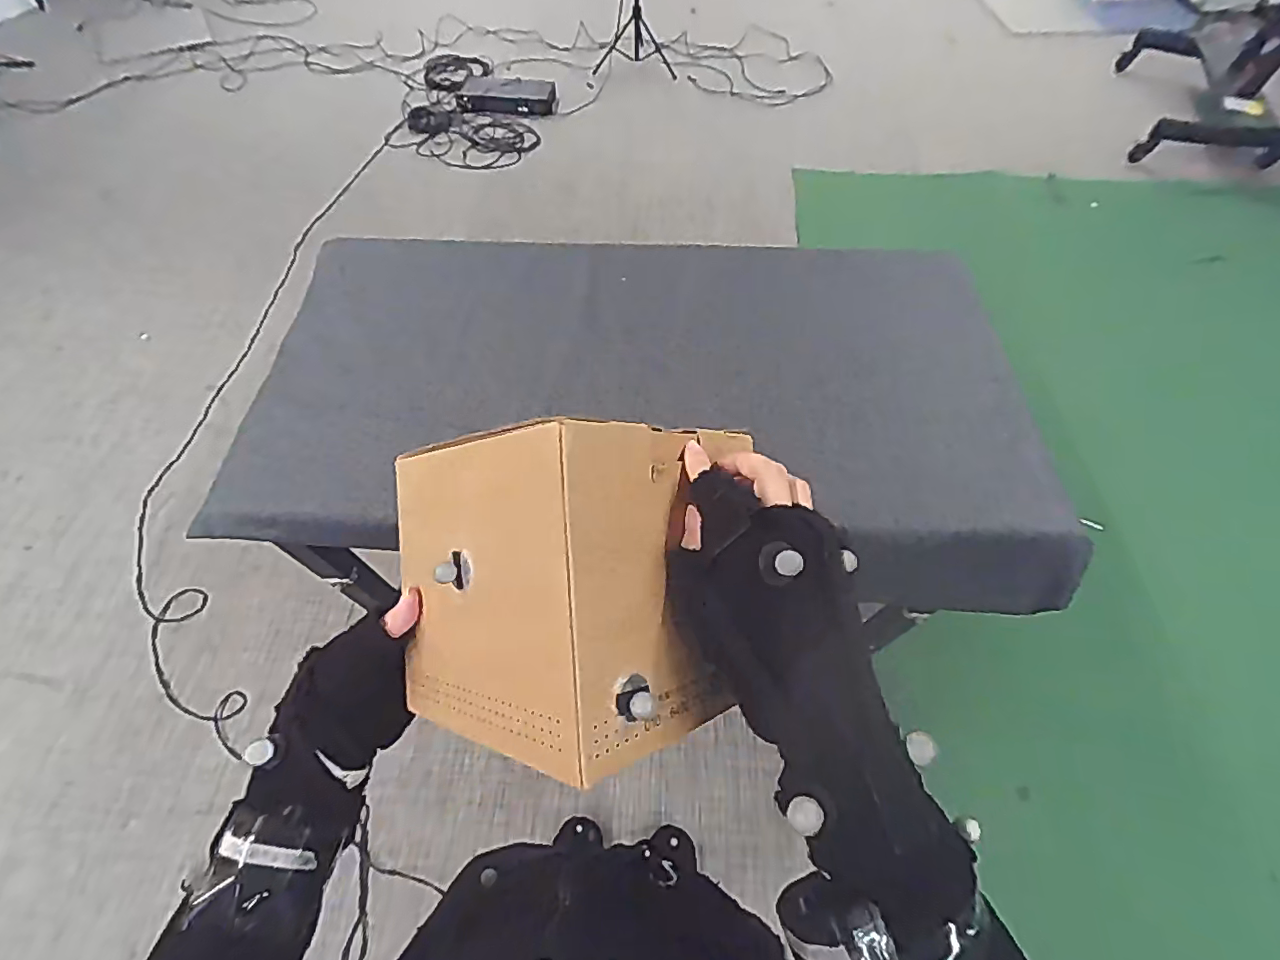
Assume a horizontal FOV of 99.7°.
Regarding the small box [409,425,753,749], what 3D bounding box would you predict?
[{"bbox_3d":[-0.038,0.061,0.373,0.179,0.168,0.176,-7,86,42],"label":"small box"}]
